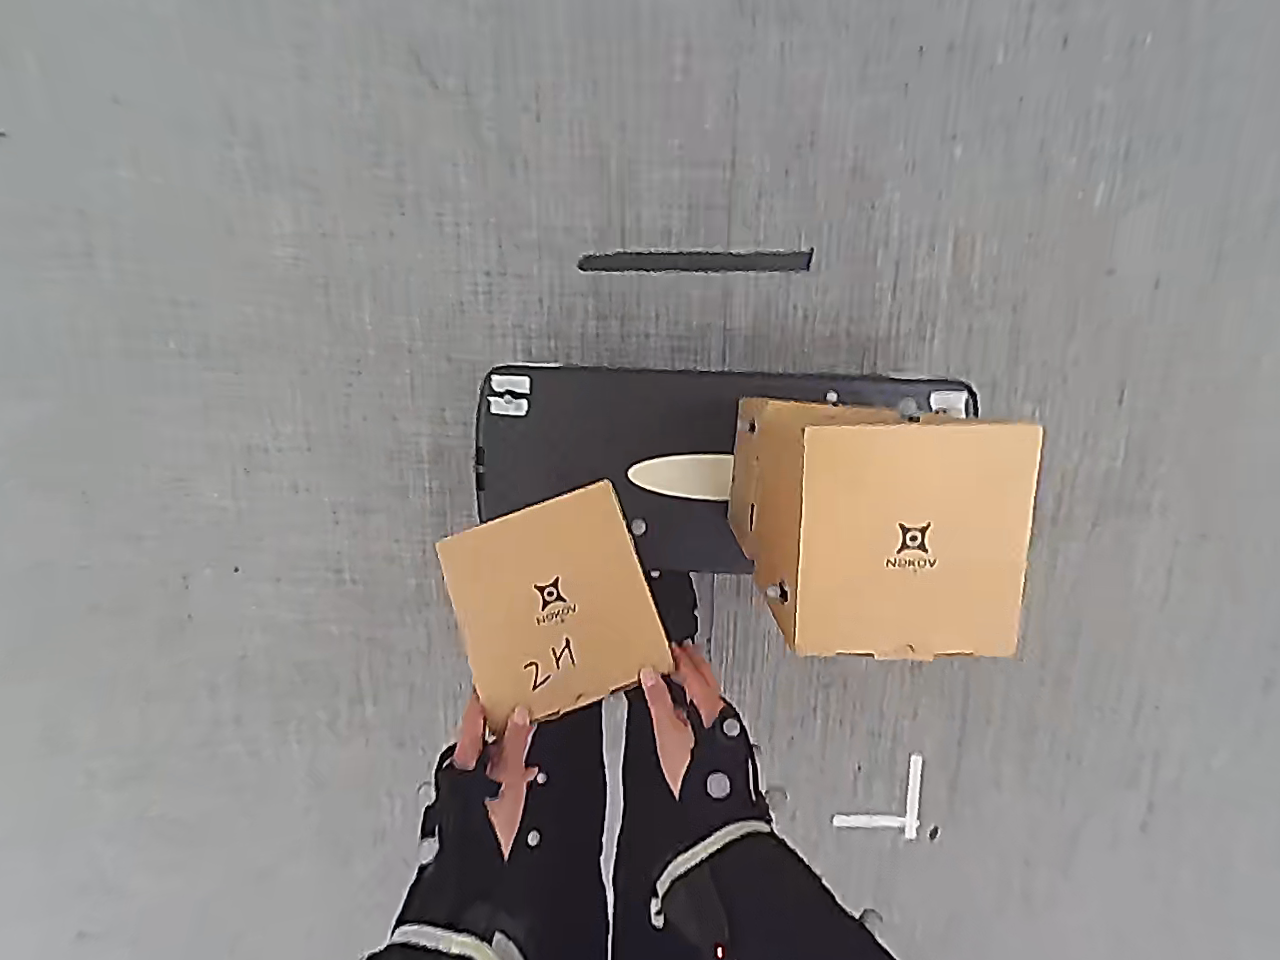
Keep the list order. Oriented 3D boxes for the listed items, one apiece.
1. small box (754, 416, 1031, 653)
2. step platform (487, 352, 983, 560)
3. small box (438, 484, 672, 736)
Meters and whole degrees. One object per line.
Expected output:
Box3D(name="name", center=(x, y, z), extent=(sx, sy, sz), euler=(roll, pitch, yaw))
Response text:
Box3D(name="small box", center=(0.198, 0.033, 0.476), extent=(0.168, 0.176, 0.179), euler=(0, 100, 1))
Box3D(name="step platform", center=(0.124, -0.037, 0.808), extent=(0.684, 0.204, 0.286), euler=(2, 99, 2))
Box3D(name="small box", center=(-0.077, 0.124, 0.545), extent=(0.168, 0.176, 0.179), euler=(-19, 79, -4))
